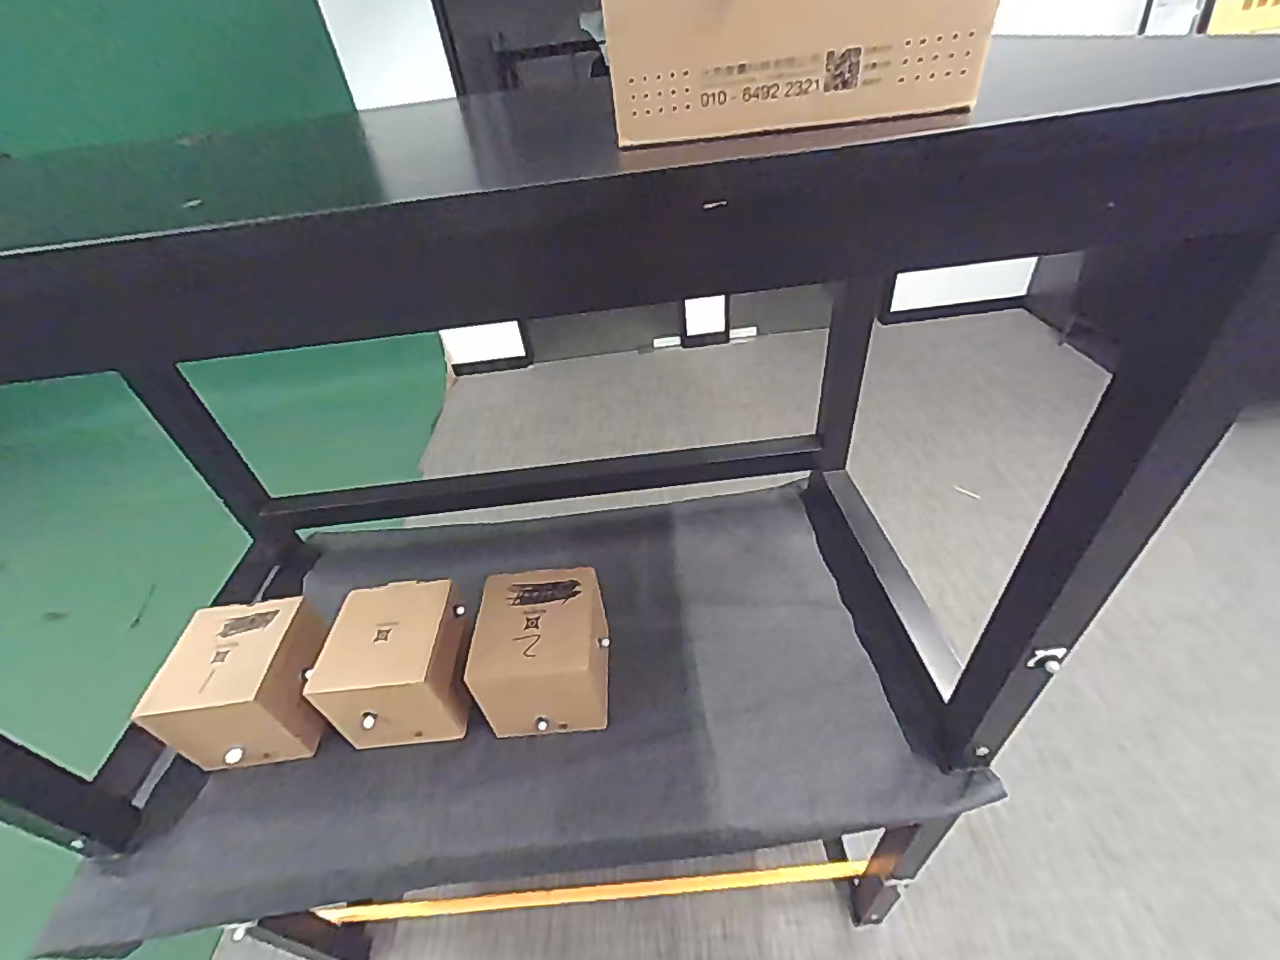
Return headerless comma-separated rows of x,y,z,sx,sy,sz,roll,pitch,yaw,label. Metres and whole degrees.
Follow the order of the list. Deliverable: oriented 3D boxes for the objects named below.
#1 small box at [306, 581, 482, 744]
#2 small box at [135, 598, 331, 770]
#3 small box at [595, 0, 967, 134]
-0.353,0.280,0.818,0.168,0.176,0.179,-6,38,1,small box
-0.578,0.307,0.819,0.168,0.176,0.179,-8,39,0,small box
0.064,-0.286,0.273,0.168,0.176,0.179,-1,39,8,small box
